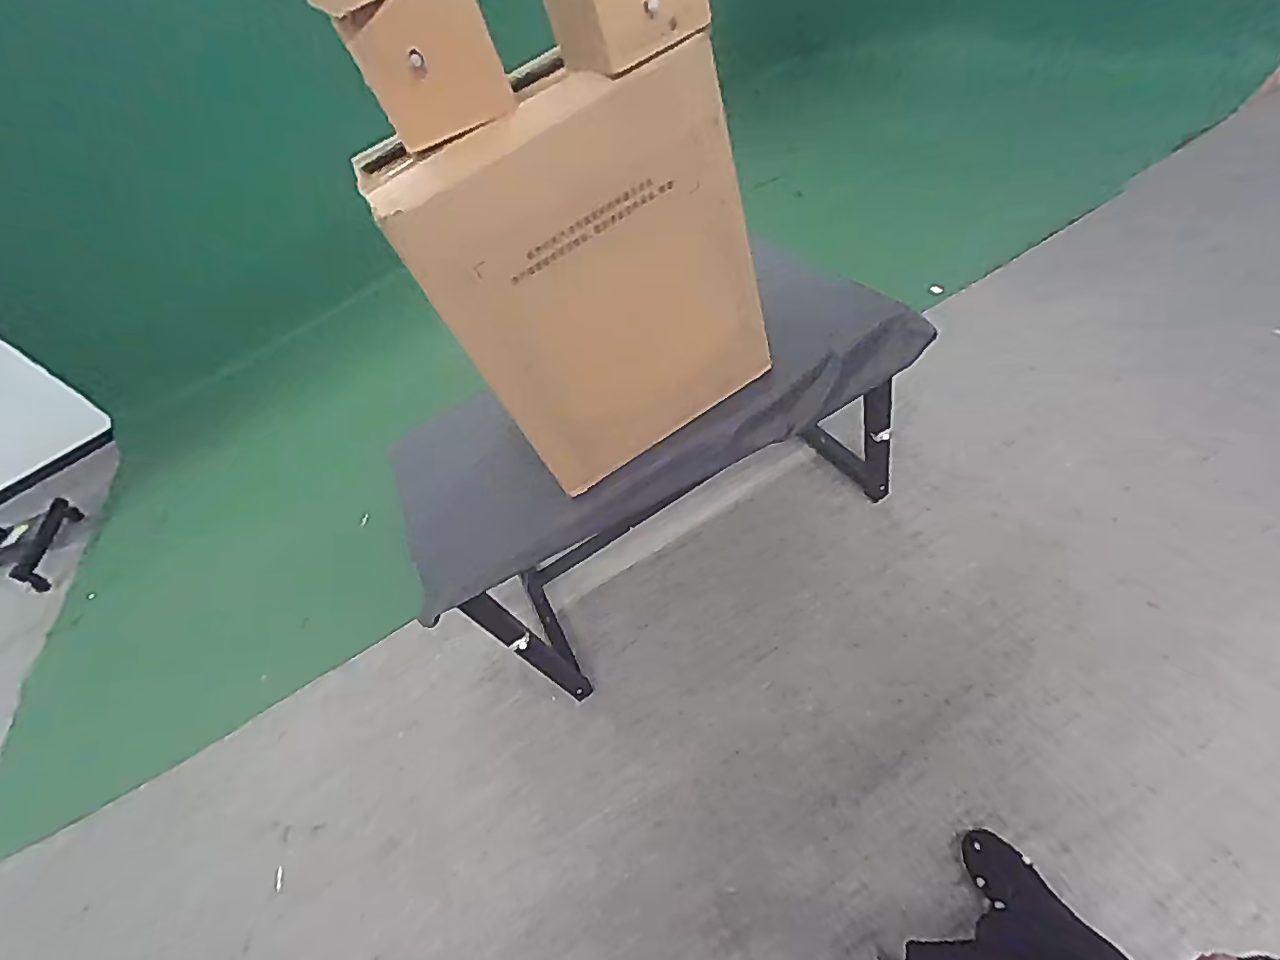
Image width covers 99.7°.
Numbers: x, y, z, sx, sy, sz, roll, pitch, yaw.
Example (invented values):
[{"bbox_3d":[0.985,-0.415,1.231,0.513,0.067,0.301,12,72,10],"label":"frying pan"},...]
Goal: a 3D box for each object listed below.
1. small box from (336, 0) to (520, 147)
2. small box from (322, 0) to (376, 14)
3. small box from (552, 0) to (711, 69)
[{"bbox_3d":[-0.294,-0.614,0.767,0.179,0.176,0.168,-22,56,3],"label":"small box"},{"bbox_3d":[-0.350,-0.691,0.635,0.179,0.176,0.168,-36,57,-9],"label":"small box"},{"bbox_3d":[-0.027,-0.692,0.736,0.168,0.176,0.179,-33,48,-6],"label":"small box"}]
